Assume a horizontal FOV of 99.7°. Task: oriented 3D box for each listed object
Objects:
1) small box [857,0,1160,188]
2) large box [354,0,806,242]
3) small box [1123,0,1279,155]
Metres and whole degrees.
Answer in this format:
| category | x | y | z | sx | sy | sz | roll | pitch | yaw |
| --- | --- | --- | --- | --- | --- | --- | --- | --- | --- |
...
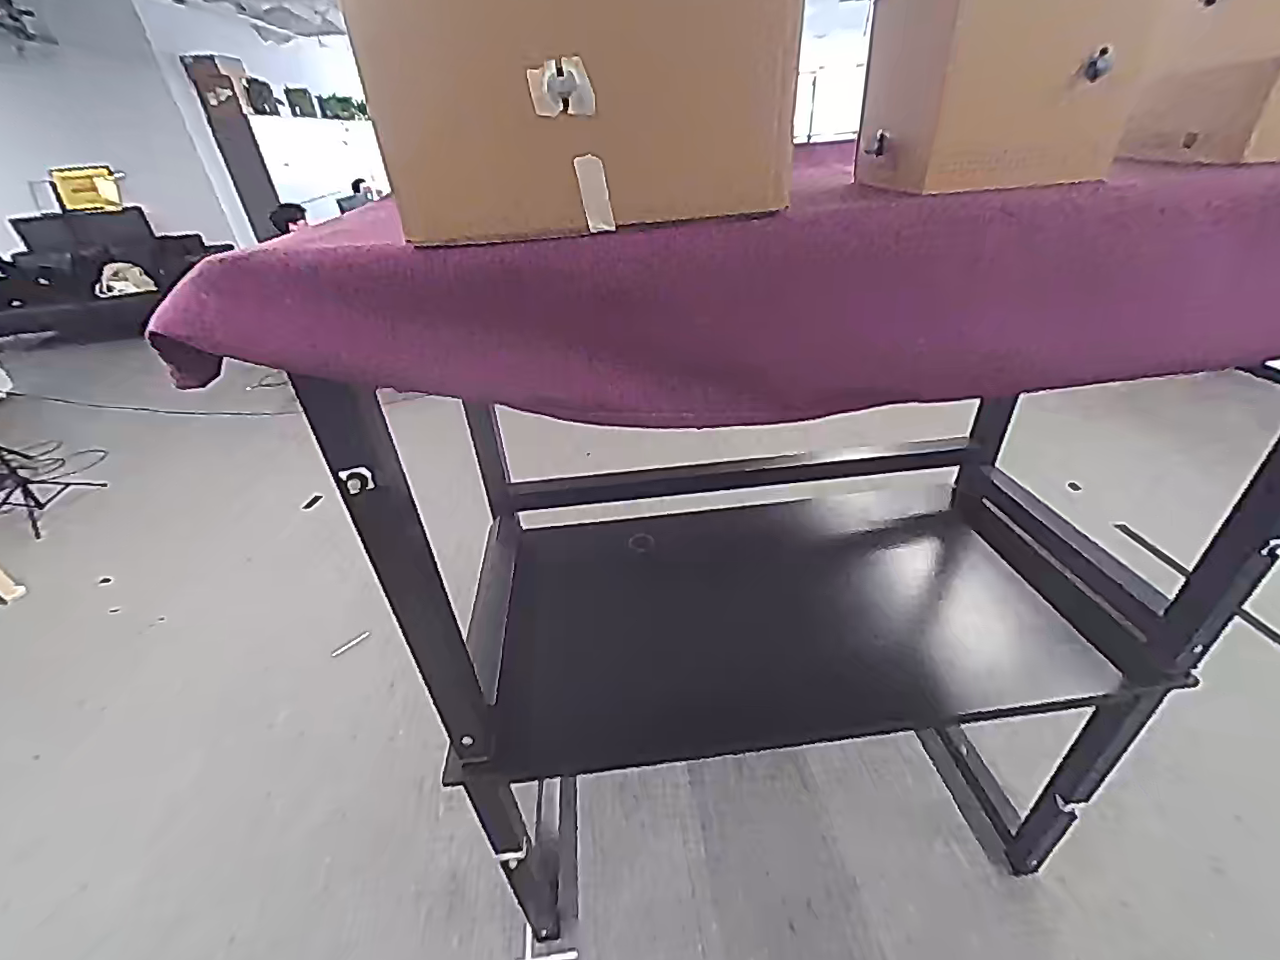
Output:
| category | x | y | z | sx | sy | sz | roll | pitch | yaw |
| --- | --- | --- | --- | --- | --- | --- | --- | --- | --- |
| small box | 0.332 | -0.387 | 0.517 | 0.179 | 0.176 | 0.168 | -6 | 32 | 0 |
| large box | -0.065 | -0.429 | 0.511 | 0.320 | 0.320 | 0.408 | -7 | 32 | -5 |
| small box | 0.651 | -0.431 | 0.537 | 0.179 | 0.176 | 0.168 | -4 | 32 | 2 |
